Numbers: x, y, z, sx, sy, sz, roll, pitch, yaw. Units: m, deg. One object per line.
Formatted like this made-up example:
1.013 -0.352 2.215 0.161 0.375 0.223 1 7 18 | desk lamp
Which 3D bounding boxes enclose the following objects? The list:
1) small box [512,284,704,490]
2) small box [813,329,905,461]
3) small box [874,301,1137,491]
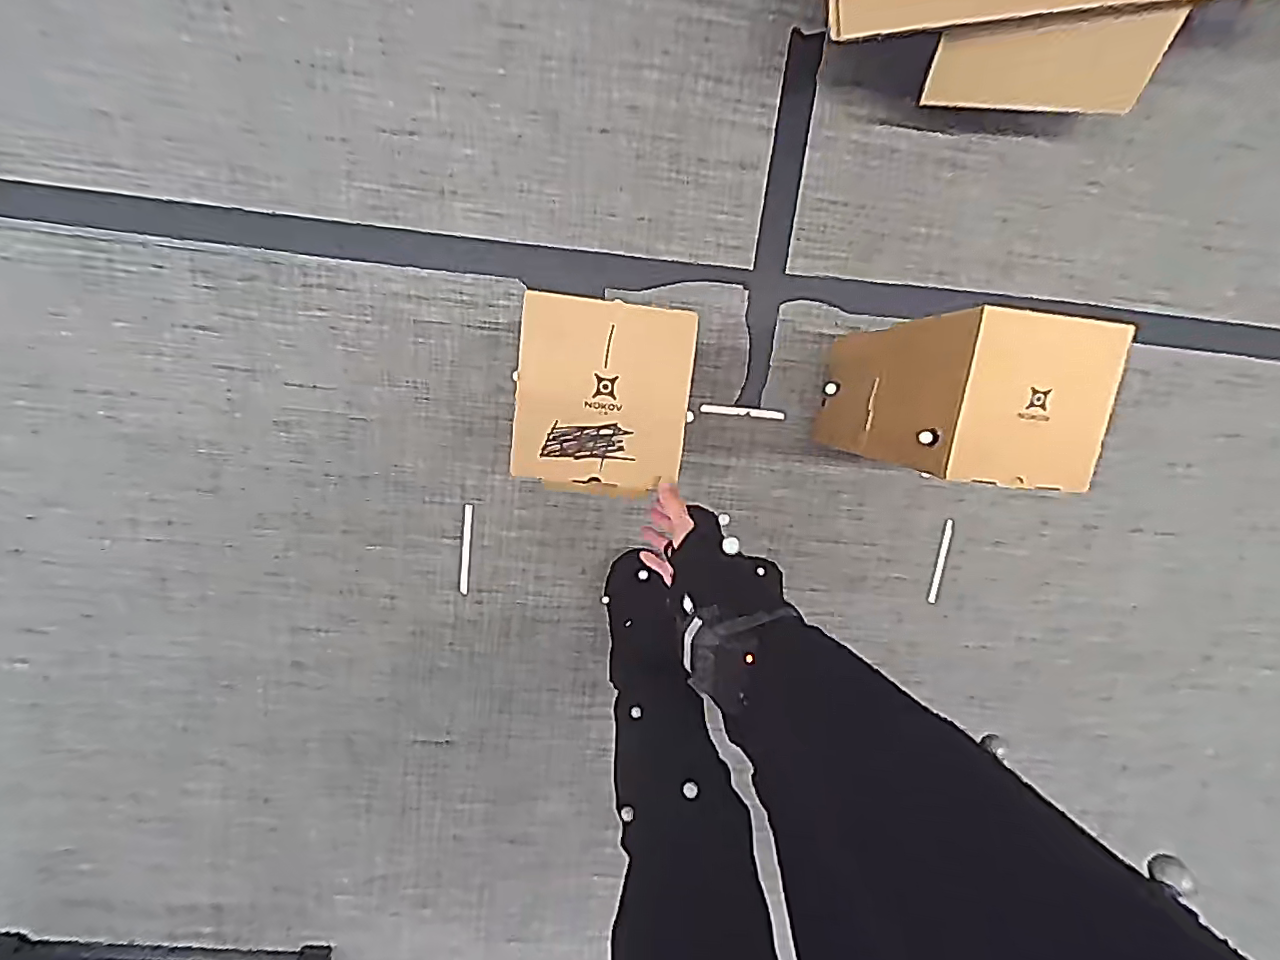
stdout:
-0.036 -0.099 0.586 0.168 0.176 0.179 6 100 -6 | small box
0.381 -0.118 0.781 0.179 0.176 0.168 10 101 -7 | small box
0.396 -0.096 0.620 0.168 0.176 0.179 5 102 -6 | small box
